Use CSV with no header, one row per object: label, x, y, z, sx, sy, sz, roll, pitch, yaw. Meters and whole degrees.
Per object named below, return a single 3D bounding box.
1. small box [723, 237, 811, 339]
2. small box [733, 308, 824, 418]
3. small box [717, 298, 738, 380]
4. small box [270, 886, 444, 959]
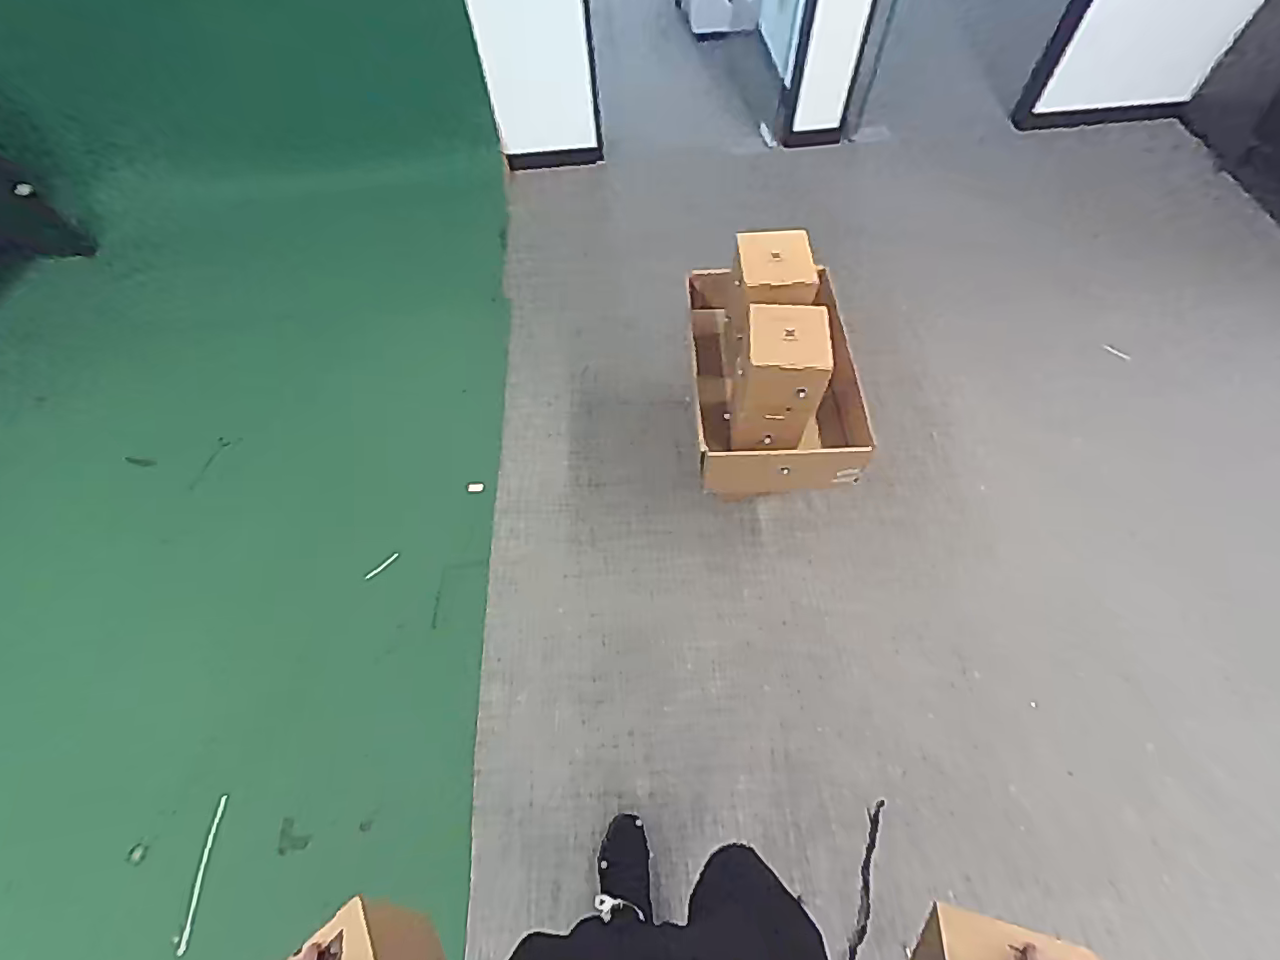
small box,0.301,-0.467,1.322,0.168,0.176,0.179,-2,62,0
small box,0.300,-0.254,1.197,0.168,0.176,0.179,4,60,3
small box,0.305,-0.391,1.466,0.168,0.176,0.179,-2,62,1
small box,-0.341,0.641,0.644,0.168,0.176,0.179,-37,46,-17
